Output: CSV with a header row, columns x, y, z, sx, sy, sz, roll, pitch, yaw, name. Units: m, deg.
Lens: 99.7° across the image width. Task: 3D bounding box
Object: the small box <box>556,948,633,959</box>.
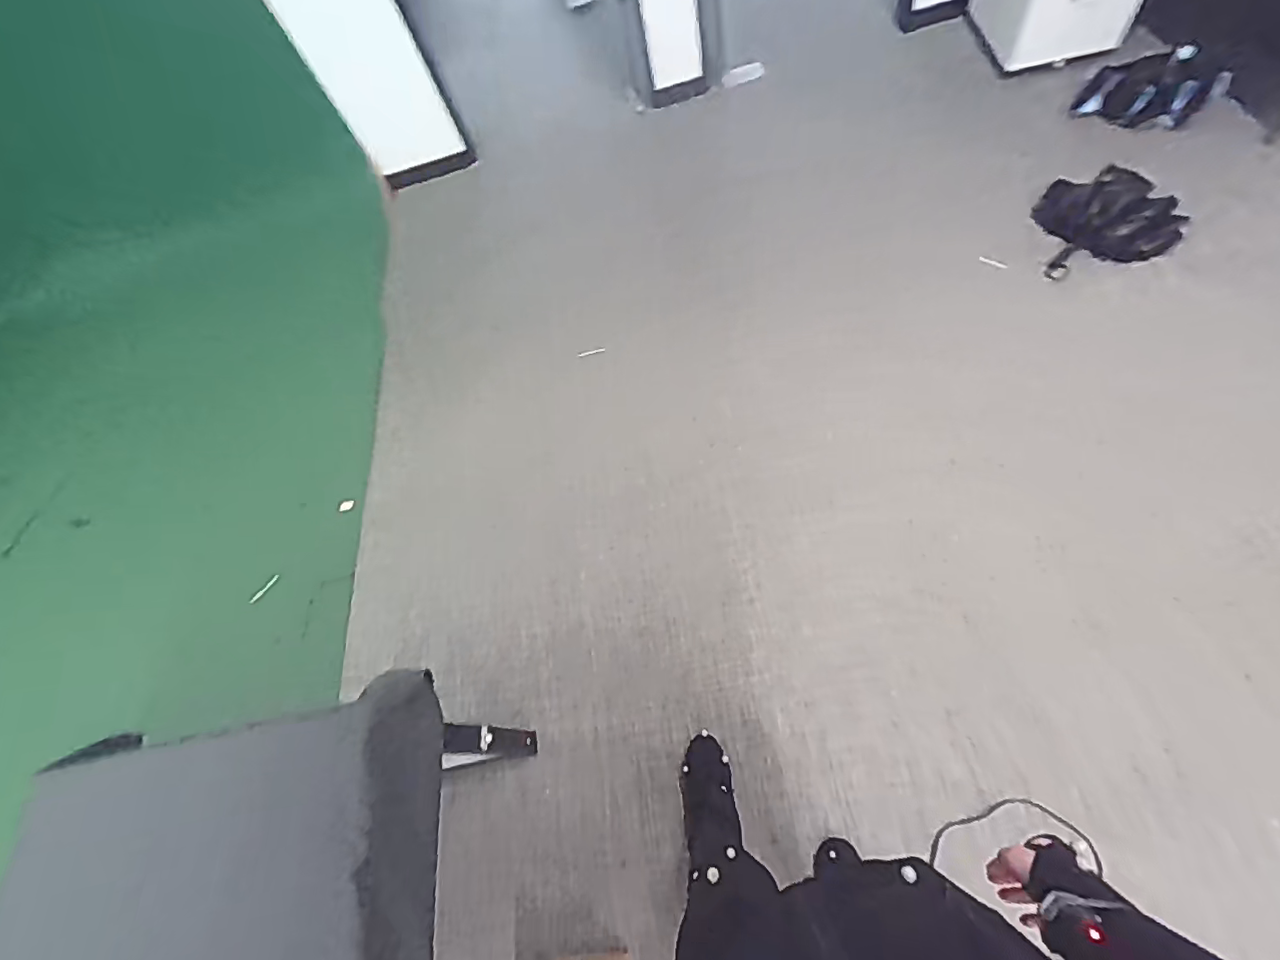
x,y,z,sx,sy,sz,roll,pitch,yaw,name
-0.110,1.091,1.110,0.179,0.176,0.168,-12,60,10,small box
